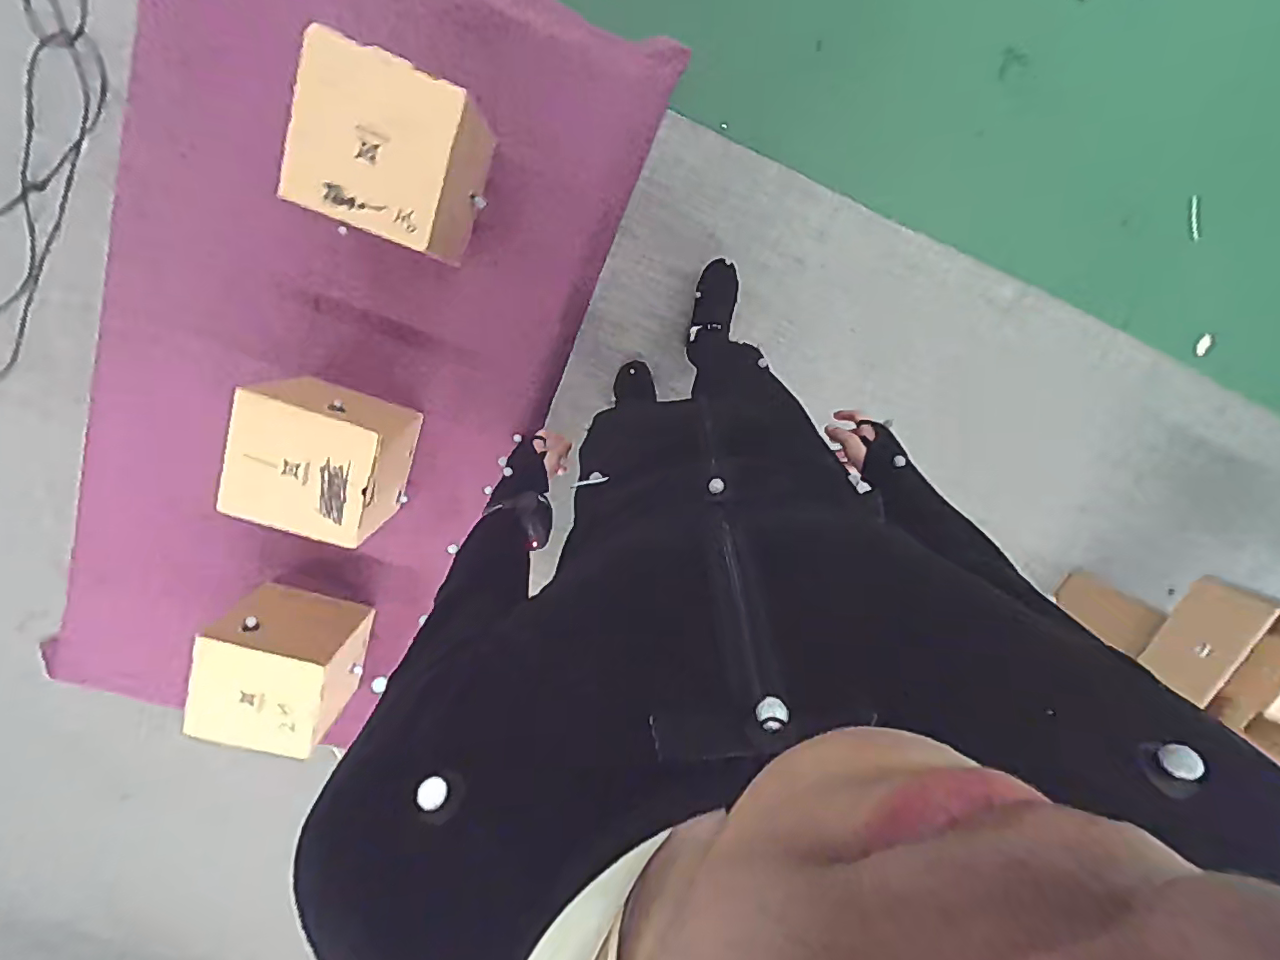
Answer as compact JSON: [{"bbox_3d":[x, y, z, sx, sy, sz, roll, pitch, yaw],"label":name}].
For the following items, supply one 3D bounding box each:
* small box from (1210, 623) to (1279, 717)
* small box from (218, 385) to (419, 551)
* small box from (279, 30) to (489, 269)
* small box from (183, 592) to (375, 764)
[{"bbox_3d":[1.604,0.485,1.343,0.168,0.176,0.179,20,105,-8],"label":"small box"},{"bbox_3d":[-0.432,-0.026,0.755,0.179,0.176,0.168,18,103,-8],"label":"small box"},{"bbox_3d":[-0.297,-0.382,0.665,0.168,0.176,0.179,20,103,-8],"label":"small box"},{"bbox_3d":[-0.543,0.293,0.833,0.179,0.176,0.168,17,104,-8],"label":"small box"}]
